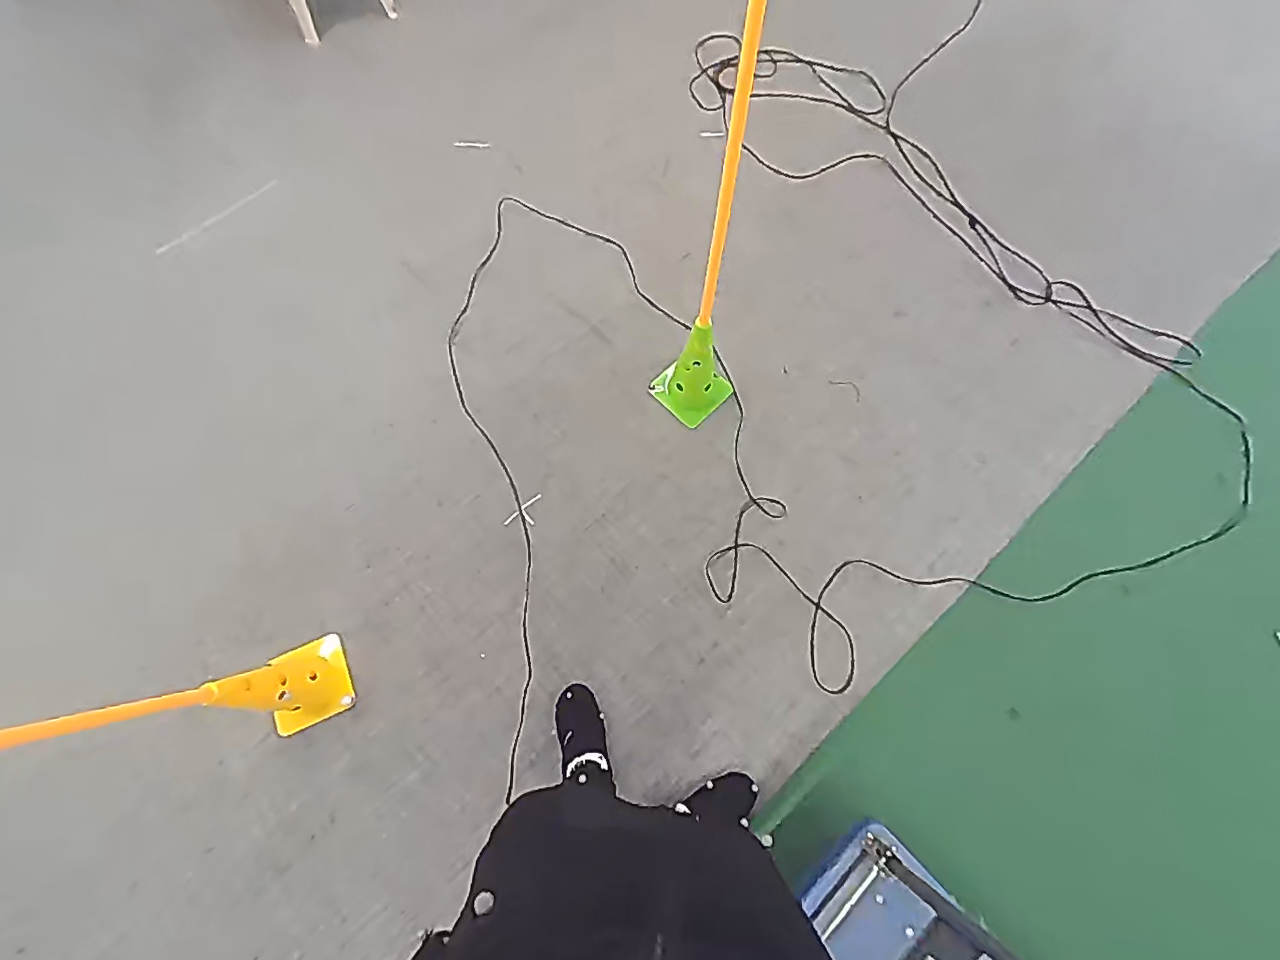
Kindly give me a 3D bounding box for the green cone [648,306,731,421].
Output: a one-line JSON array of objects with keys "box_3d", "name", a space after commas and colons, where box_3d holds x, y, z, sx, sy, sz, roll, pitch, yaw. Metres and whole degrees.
[{"box_3d": [0.156, -0.352, 1.502, 0.200, 0.368, 0.202, 43, 76, 12], "name": "green cone"}]
